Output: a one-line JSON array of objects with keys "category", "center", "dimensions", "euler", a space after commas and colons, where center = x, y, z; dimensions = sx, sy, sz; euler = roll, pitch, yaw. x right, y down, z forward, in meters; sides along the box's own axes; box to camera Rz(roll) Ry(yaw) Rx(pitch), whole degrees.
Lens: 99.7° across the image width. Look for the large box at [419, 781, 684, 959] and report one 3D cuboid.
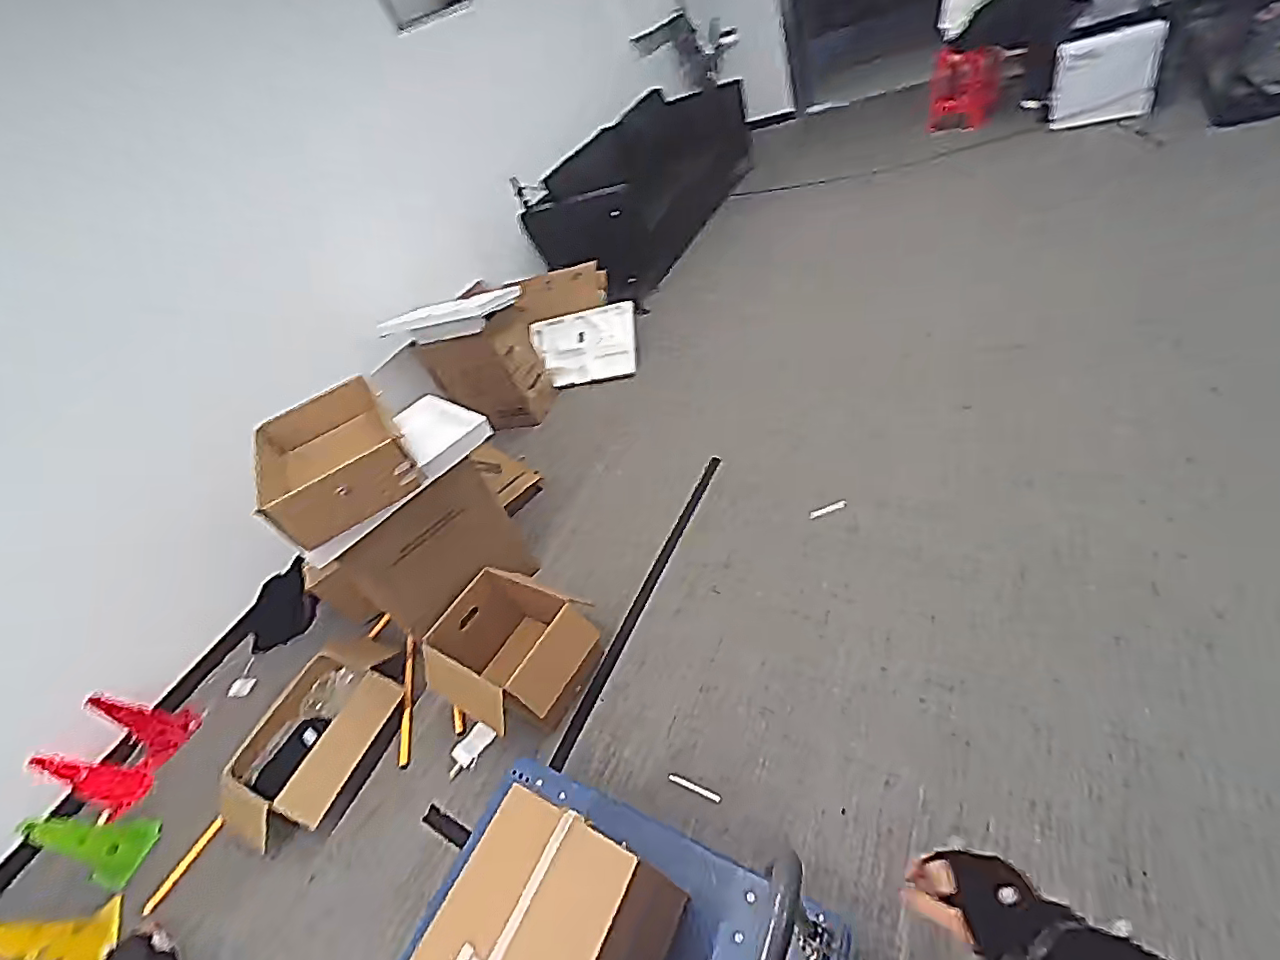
[{"category": "large box", "center": [-0.160, 0.875, 1.019], "dimensions": [0.320, 0.320, 0.408], "euler": [7, 50, 34]}]
